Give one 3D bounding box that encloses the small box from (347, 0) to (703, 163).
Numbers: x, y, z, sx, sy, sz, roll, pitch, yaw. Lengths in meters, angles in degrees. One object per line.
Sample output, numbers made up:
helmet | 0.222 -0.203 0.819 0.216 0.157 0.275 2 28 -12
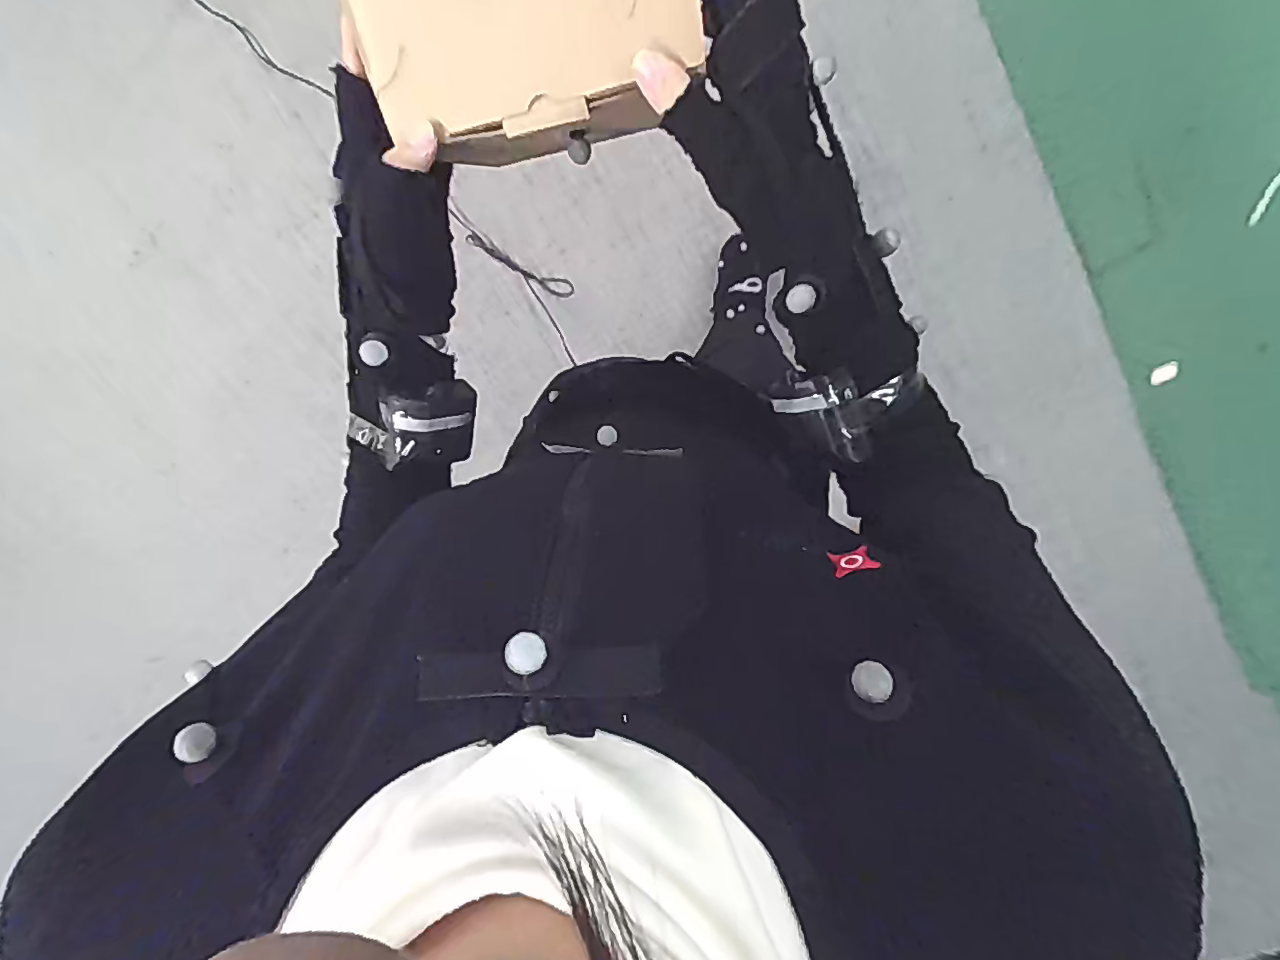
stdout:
small box | -0.057 -0.294 0.303 0.168 0.176 0.179 -9 117 10
